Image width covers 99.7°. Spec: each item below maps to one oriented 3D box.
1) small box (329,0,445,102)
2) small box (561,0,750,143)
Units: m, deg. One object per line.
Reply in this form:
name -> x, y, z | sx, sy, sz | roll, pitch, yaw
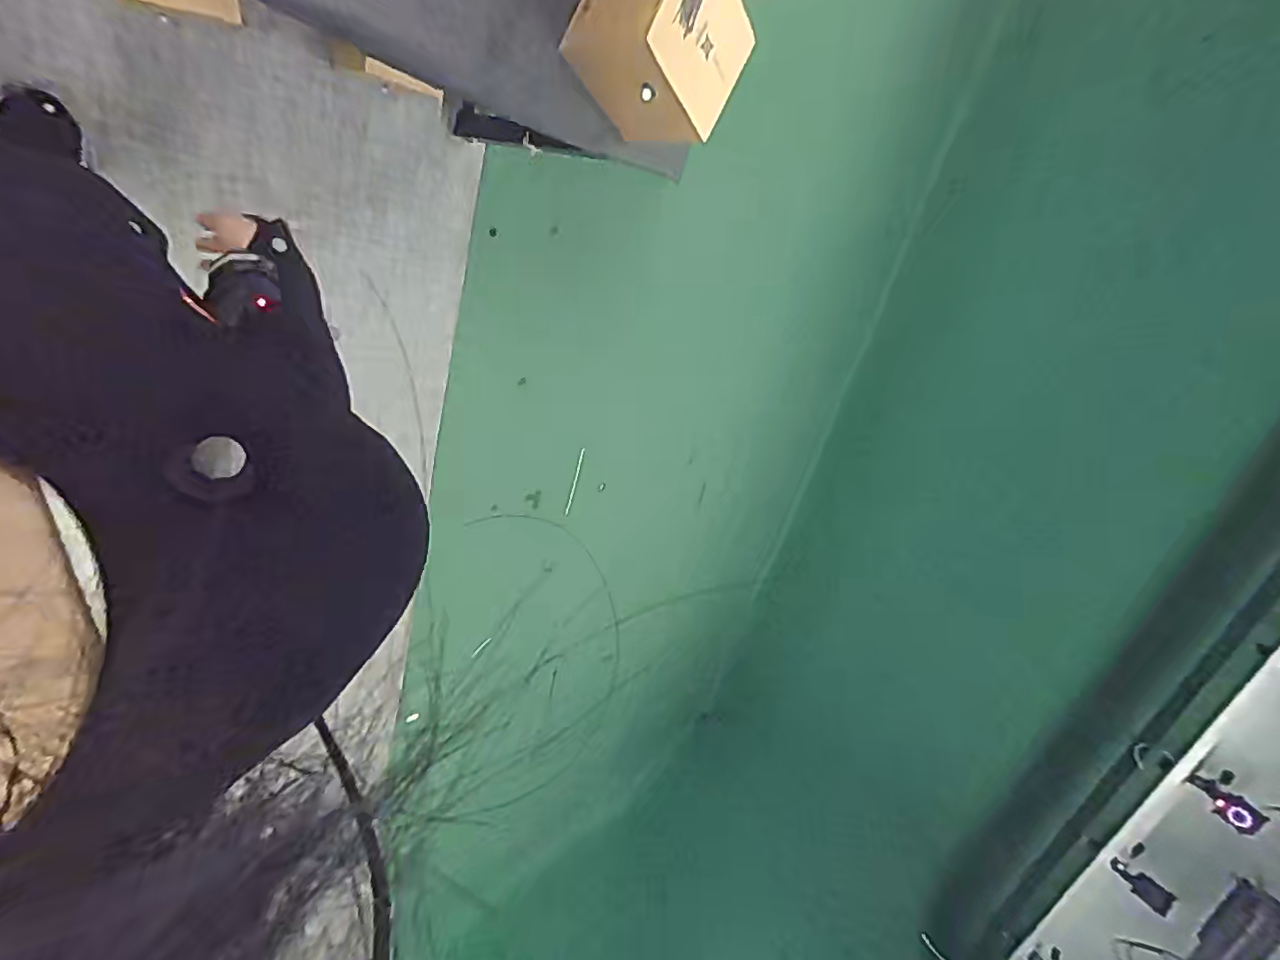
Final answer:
small box -> -0.532, -0.922, 1.132 | 0.168, 0.176, 0.179 | -15, 127, -46
small box -> 0.021, -0.610, 0.763 | 0.179, 0.176, 0.168 | 24, 94, -54
